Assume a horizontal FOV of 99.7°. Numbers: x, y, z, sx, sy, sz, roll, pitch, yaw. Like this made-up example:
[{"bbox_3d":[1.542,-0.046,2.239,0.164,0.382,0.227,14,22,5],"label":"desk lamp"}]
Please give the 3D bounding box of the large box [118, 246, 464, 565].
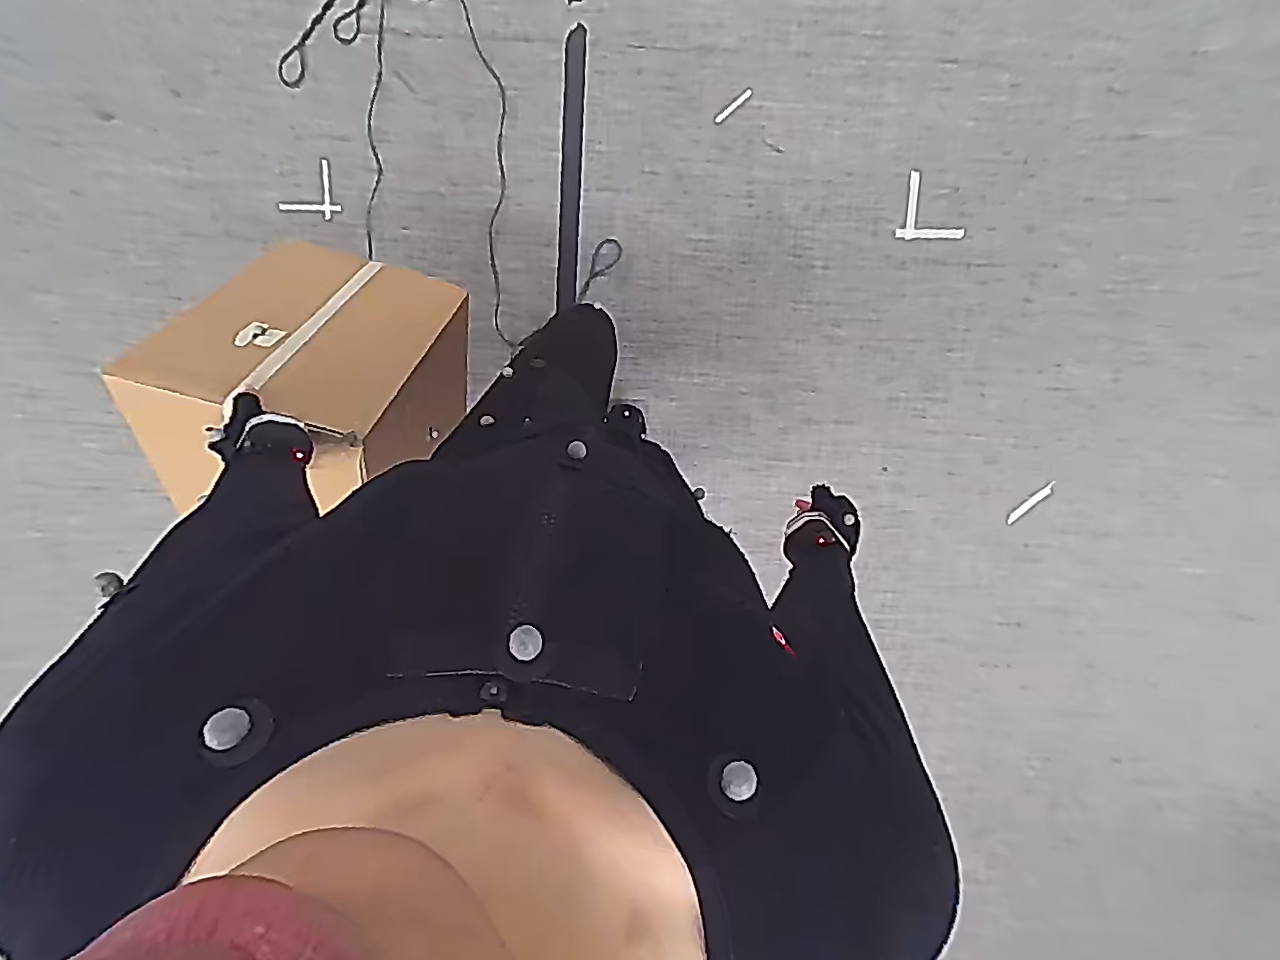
[{"bbox_3d":[-0.518,-0.130,0.923,0.320,0.408,0.320,14,137,-5],"label":"large box"}]
